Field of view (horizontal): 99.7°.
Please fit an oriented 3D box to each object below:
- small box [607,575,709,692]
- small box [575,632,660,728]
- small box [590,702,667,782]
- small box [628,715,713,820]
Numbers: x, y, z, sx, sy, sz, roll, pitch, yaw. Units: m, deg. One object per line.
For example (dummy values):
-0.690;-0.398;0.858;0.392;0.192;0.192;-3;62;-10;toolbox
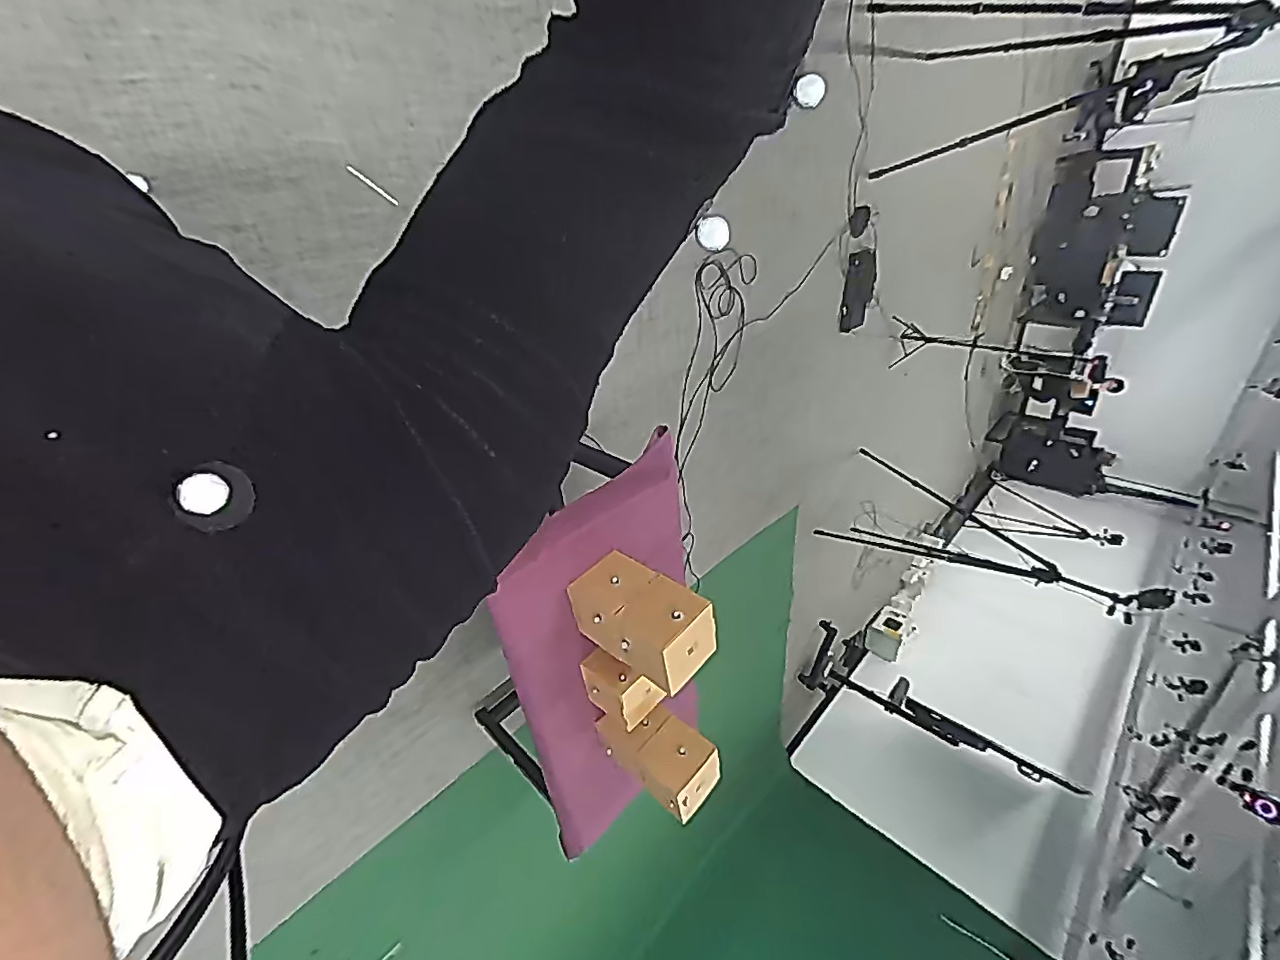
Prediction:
0.045;0.359;1.299;0.179;0.176;0.168;-35;131;-34;small box
-0.058;0.553;1.540;0.179;0.176;0.168;-34;130;-34;small box
-0.029;0.778;1.677;0.179;0.176;0.168;-35;130;-33;small box
0.090;0.827;1.575;0.179;0.176;0.168;-36;131;-34;small box
